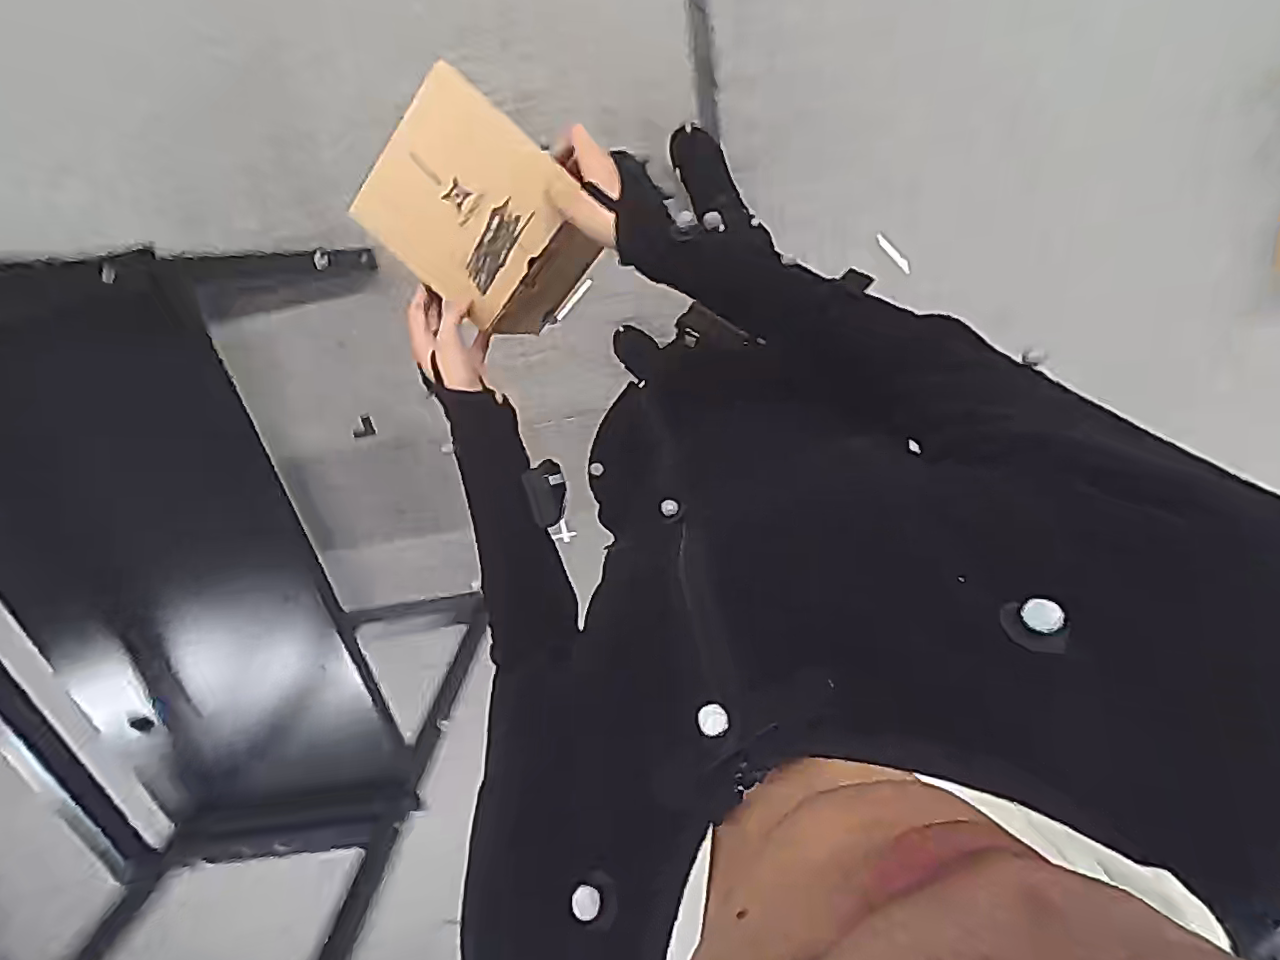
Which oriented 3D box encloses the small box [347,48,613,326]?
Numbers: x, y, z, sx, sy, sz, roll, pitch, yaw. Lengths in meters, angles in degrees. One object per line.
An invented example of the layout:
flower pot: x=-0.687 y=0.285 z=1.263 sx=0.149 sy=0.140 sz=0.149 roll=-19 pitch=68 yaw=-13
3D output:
small box: x=-0.151 y=-0.282 z=0.571 sx=0.179 sy=0.176 sz=0.168 roll=42 pitch=105 yaw=-3
